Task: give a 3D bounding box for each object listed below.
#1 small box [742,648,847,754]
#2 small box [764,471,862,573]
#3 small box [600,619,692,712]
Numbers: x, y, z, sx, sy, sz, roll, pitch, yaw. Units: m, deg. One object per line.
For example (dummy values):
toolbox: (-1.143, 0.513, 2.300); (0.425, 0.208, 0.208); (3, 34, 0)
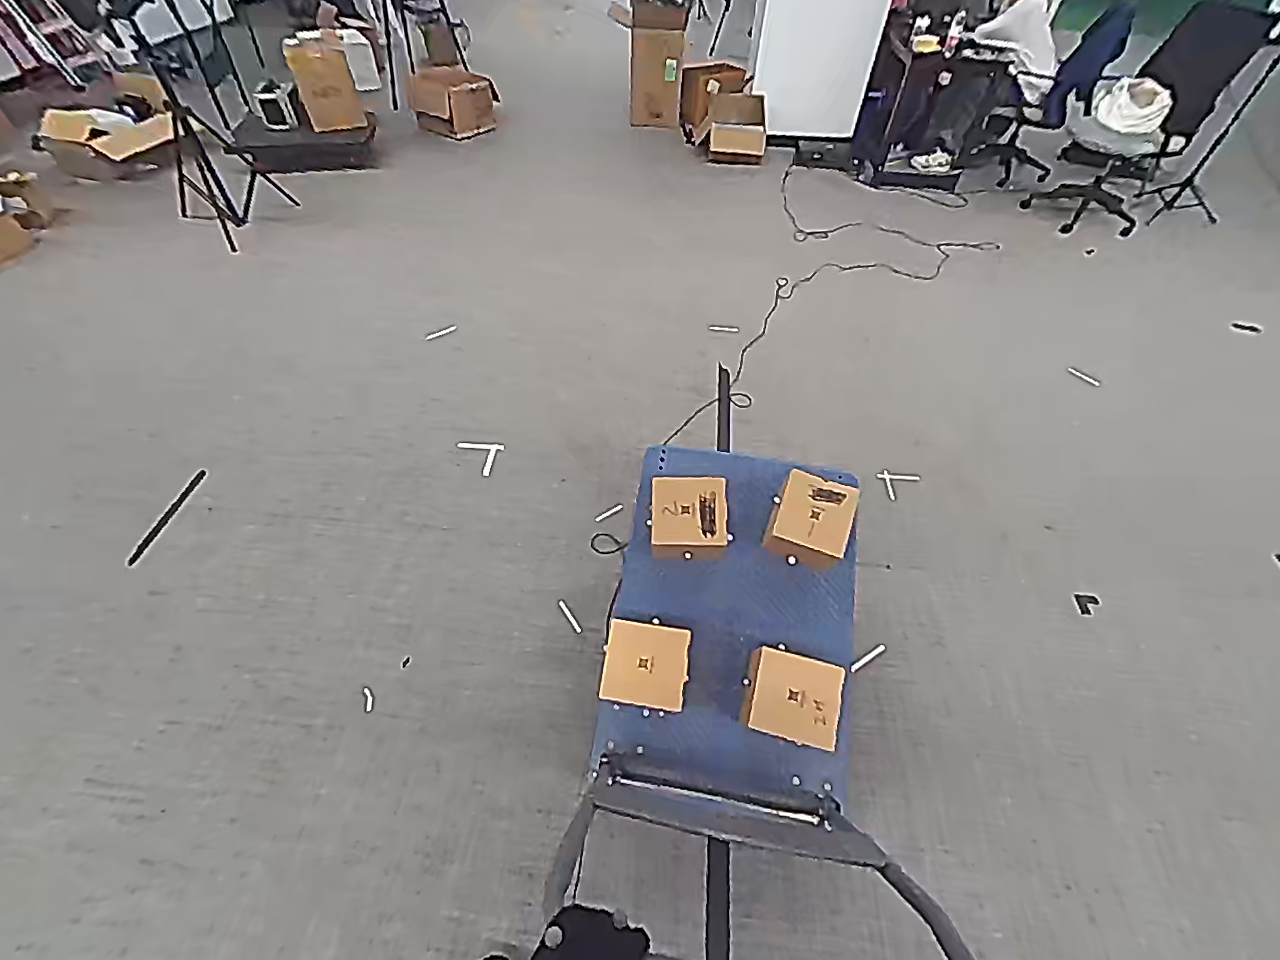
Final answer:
small box: (0.328, 0.476, 1.177); (0.179, 0.176, 0.168); (14, 71, 8)
small box: (0.412, 0.106, 1.315); (0.168, 0.176, 0.179); (19, 72, 10)
small box: (0.016, 0.419, 1.213); (0.179, 0.176, 0.168); (8, 69, 4)
